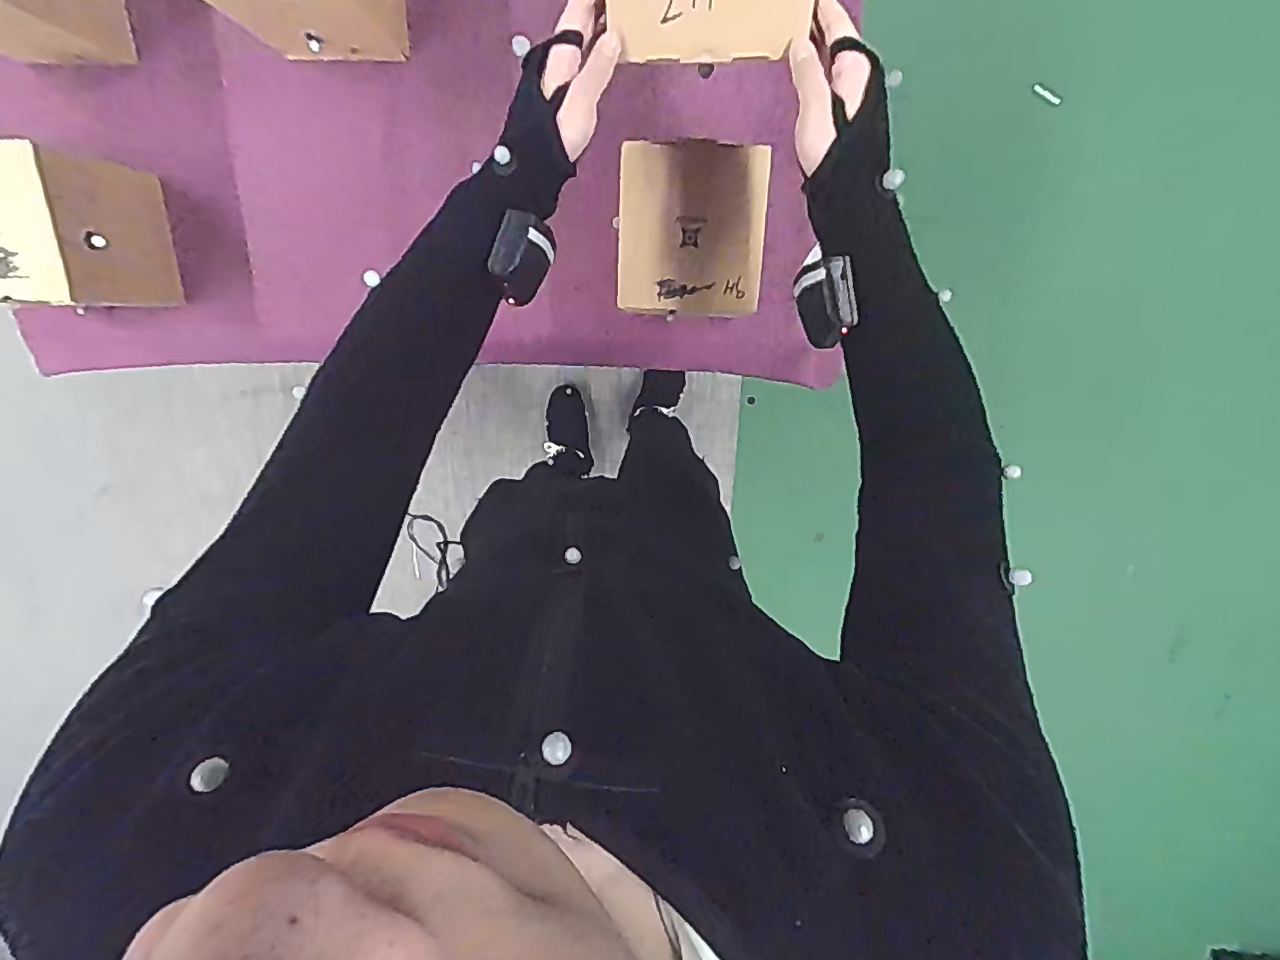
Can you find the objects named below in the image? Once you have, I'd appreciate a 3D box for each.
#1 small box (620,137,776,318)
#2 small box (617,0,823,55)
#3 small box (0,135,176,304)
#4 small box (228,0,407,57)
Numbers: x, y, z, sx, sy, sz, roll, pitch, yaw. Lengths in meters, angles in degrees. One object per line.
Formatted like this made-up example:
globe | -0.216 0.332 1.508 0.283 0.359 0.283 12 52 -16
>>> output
small box | 0.064 -0.302 0.682 0.168 0.176 0.179 3 105 2
small box | 0.069 -0.472 0.455 0.168 0.176 0.179 3 130 5
small box | -0.752 -0.320 0.694 0.168 0.176 0.179 1 106 0
small box | -0.379 -0.611 0.599 0.168 0.176 0.179 1 108 0
